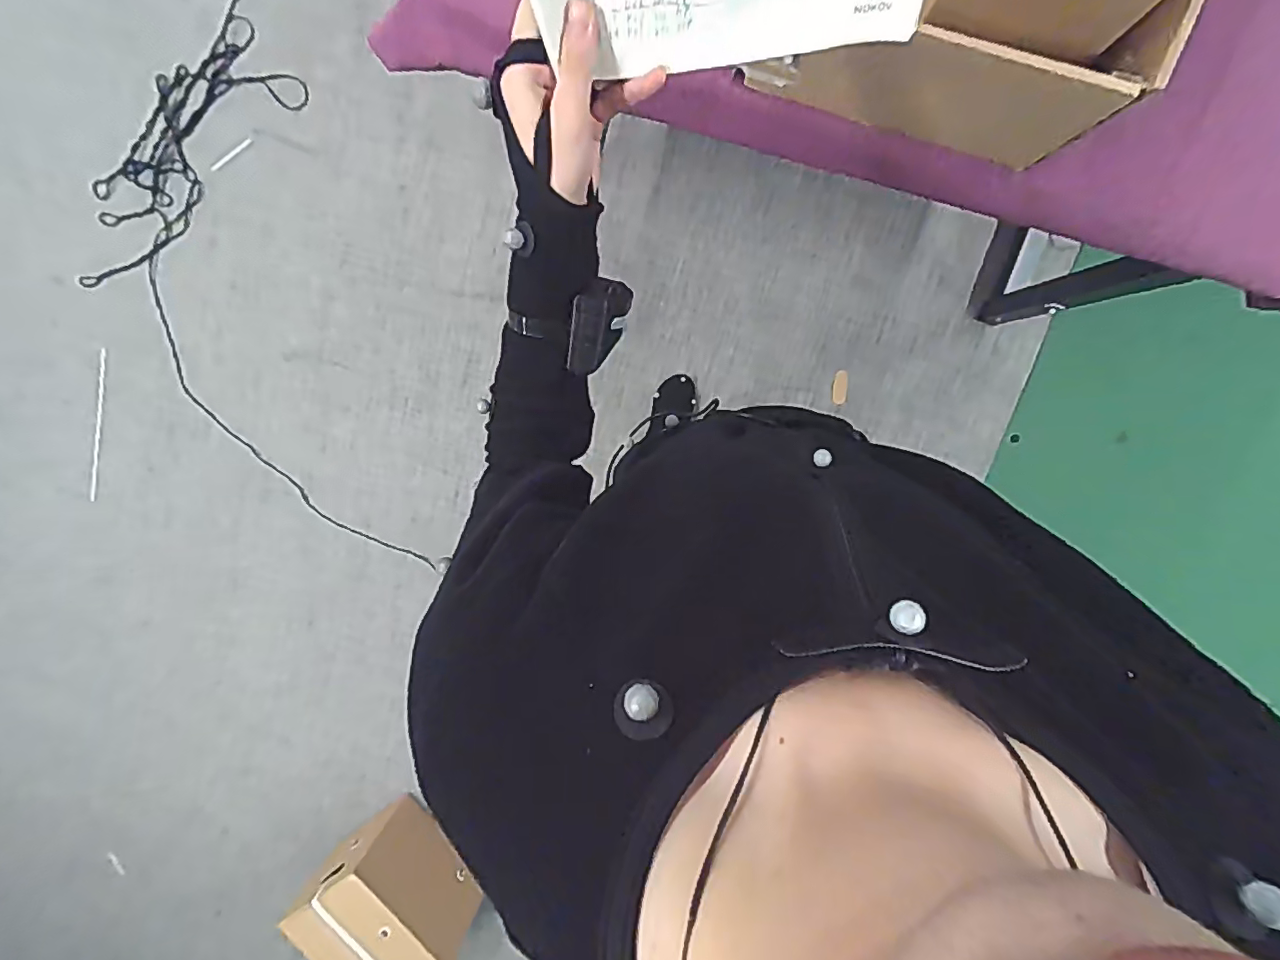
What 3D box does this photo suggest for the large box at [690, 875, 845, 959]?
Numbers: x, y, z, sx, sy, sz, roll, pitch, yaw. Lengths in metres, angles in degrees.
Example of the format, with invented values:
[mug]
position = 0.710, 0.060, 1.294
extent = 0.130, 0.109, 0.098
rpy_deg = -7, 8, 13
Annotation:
[large box]
position = 0.348, 1.402, 1.545
extent = 0.408, 0.320, 0.320
rpy_deg = 2, 100, 4
